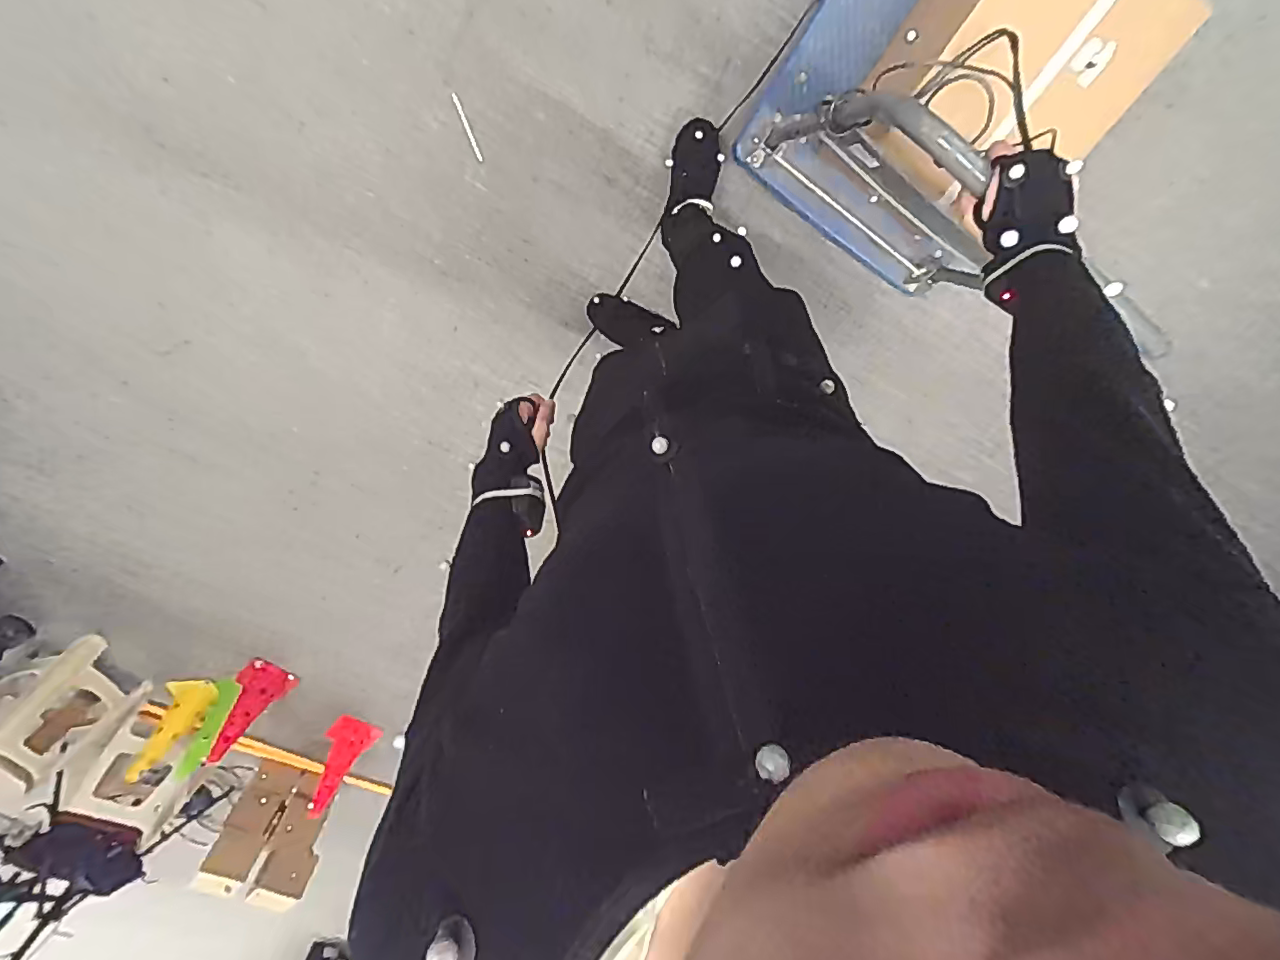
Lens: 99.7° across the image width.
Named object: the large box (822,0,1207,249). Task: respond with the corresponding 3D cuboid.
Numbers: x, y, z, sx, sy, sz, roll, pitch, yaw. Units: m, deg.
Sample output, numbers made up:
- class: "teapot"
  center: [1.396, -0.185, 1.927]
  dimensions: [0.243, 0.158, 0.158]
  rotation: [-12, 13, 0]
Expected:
- class: "large box"
  center: [0.610, -0.696, 0.972]
  dimensions: [0.320, 0.320, 0.408]
  rotation: [28, 116, -17]
